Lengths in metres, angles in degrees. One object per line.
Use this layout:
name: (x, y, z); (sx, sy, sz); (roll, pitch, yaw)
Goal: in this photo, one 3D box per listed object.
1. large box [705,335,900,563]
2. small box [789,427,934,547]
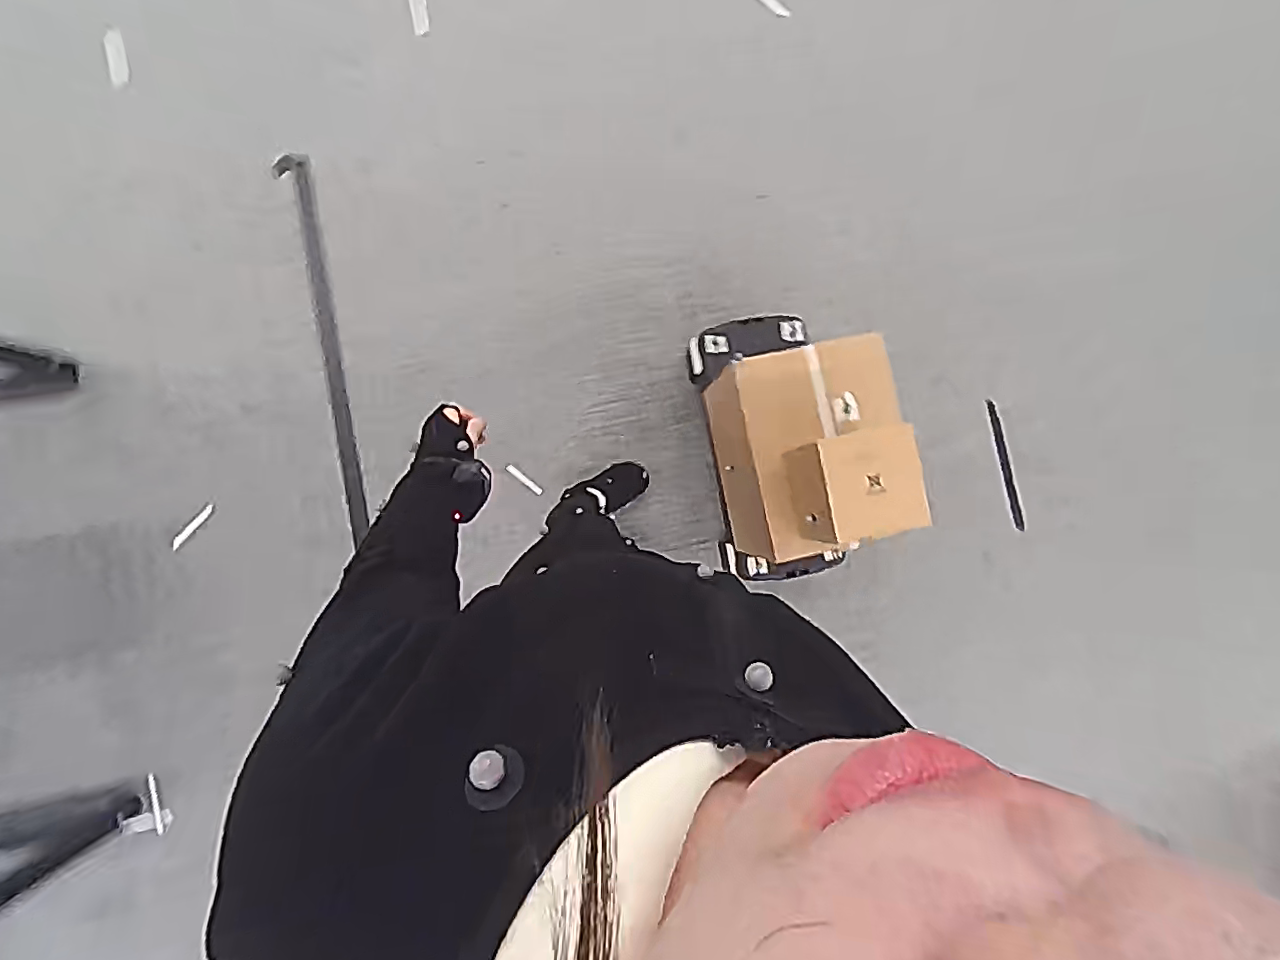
large box: (0.356, -0.055, 1.199); (0.320, 0.320, 0.408); (-12, 87, -6)
small box: (0.378, 0.013, 0.950); (0.168, 0.176, 0.179); (-9, 87, -4)
